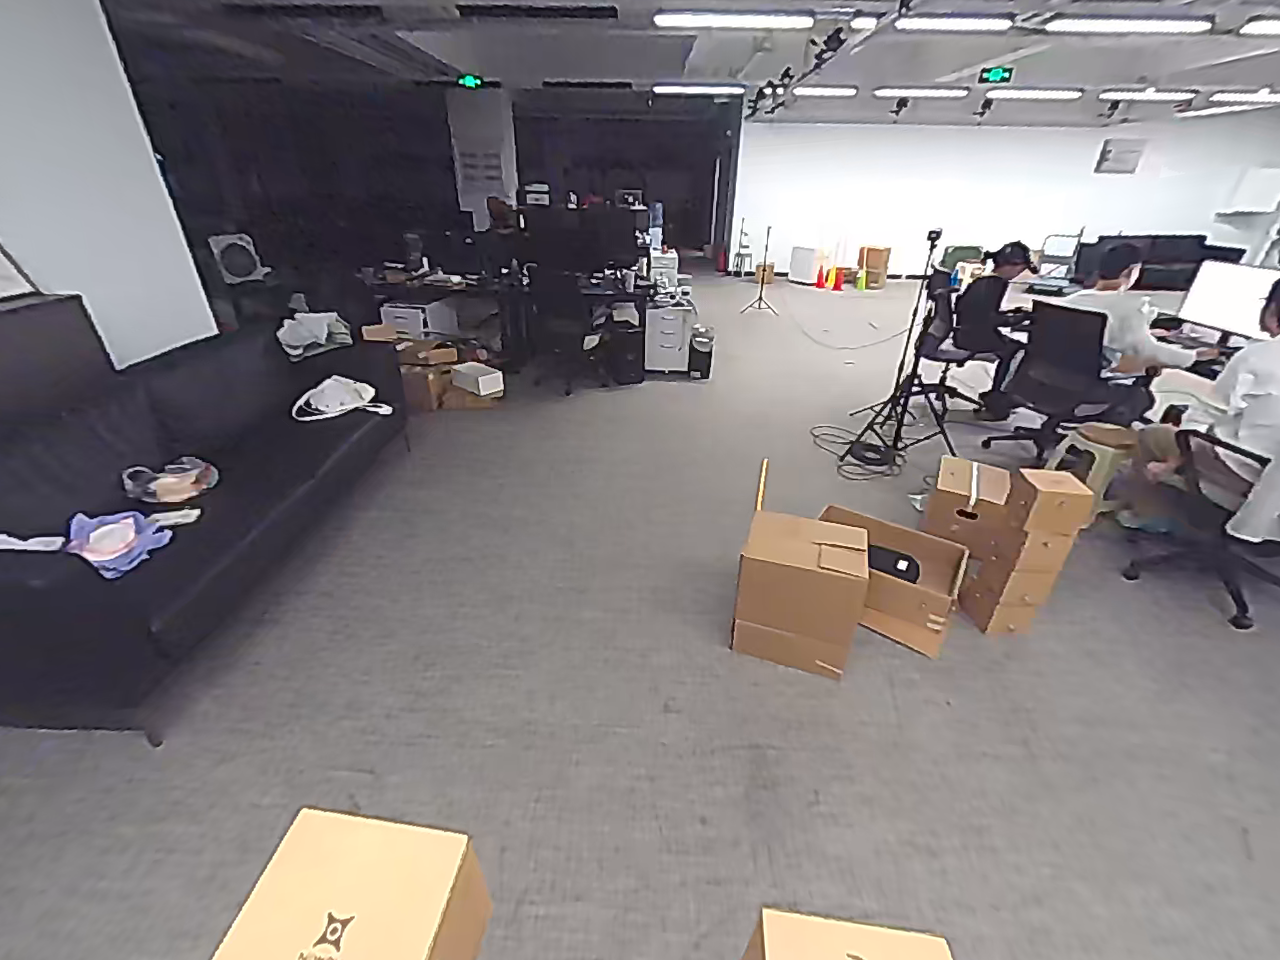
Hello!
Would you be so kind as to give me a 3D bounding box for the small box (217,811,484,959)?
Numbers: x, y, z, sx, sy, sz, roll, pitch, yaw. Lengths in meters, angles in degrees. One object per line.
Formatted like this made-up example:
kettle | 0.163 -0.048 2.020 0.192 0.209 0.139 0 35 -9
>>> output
small box | -0.248 0.433 0.477 0.168 0.176 0.179 7 37 5
